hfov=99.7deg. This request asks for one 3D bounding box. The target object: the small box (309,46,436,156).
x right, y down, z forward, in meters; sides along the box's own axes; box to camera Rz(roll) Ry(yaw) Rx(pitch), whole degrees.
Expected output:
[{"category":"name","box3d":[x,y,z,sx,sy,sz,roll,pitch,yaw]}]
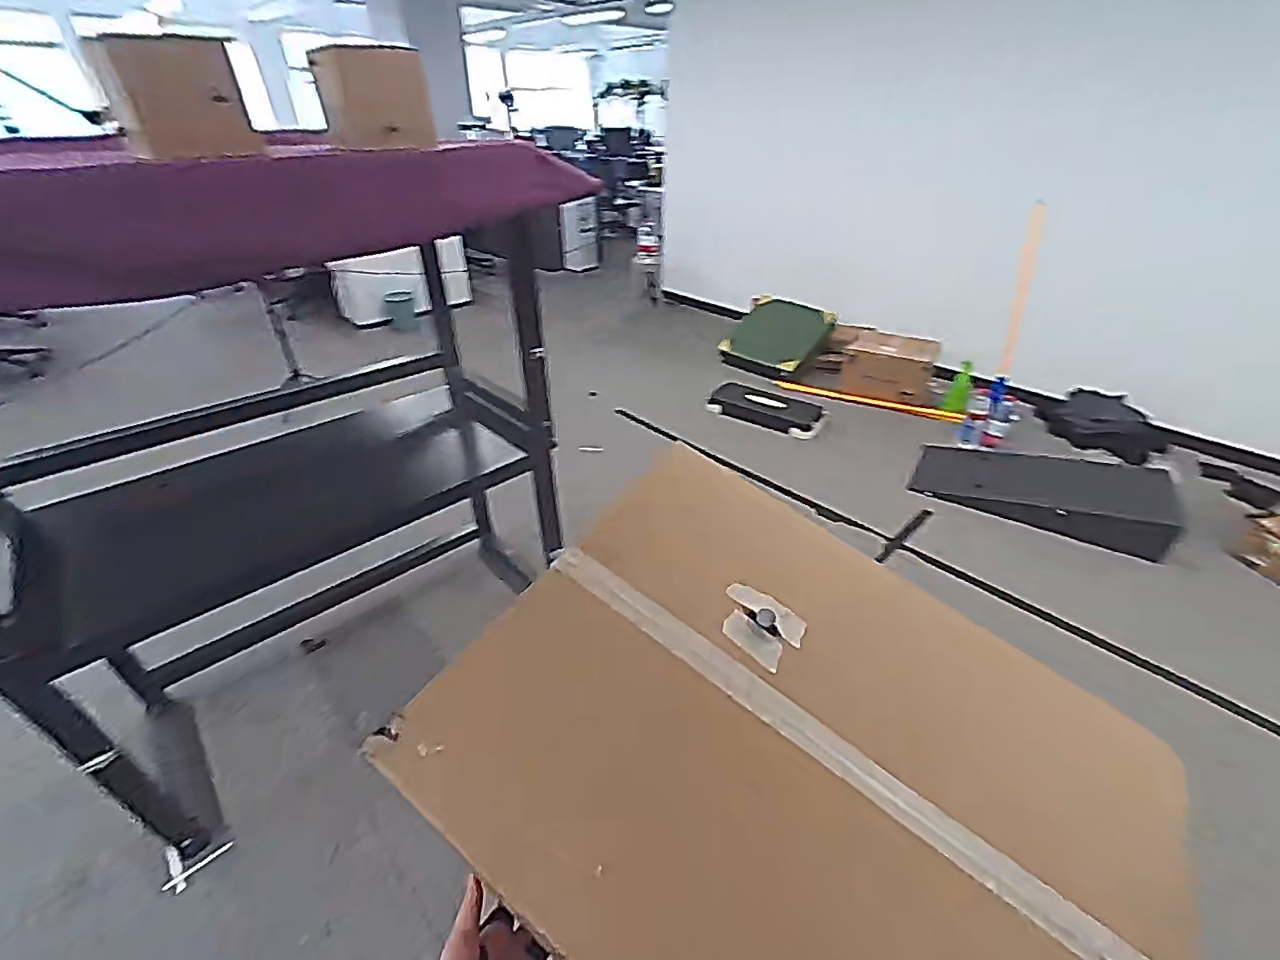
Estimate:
[{"category":"small box","box3d":[-0.534,-0.766,1.102,0.179,0.176,0.168,-27,41,-34]}]

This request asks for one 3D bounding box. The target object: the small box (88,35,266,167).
[{"category":"small box","box3d":[-0.783,-0.647,0.933,0.168,0.176,0.179,25,42,34]}]

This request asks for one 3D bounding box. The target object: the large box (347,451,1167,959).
[{"category":"large box","box3d":[0.072,0.255,0.429,0.408,0.320,0.320,32,50,16]}]
